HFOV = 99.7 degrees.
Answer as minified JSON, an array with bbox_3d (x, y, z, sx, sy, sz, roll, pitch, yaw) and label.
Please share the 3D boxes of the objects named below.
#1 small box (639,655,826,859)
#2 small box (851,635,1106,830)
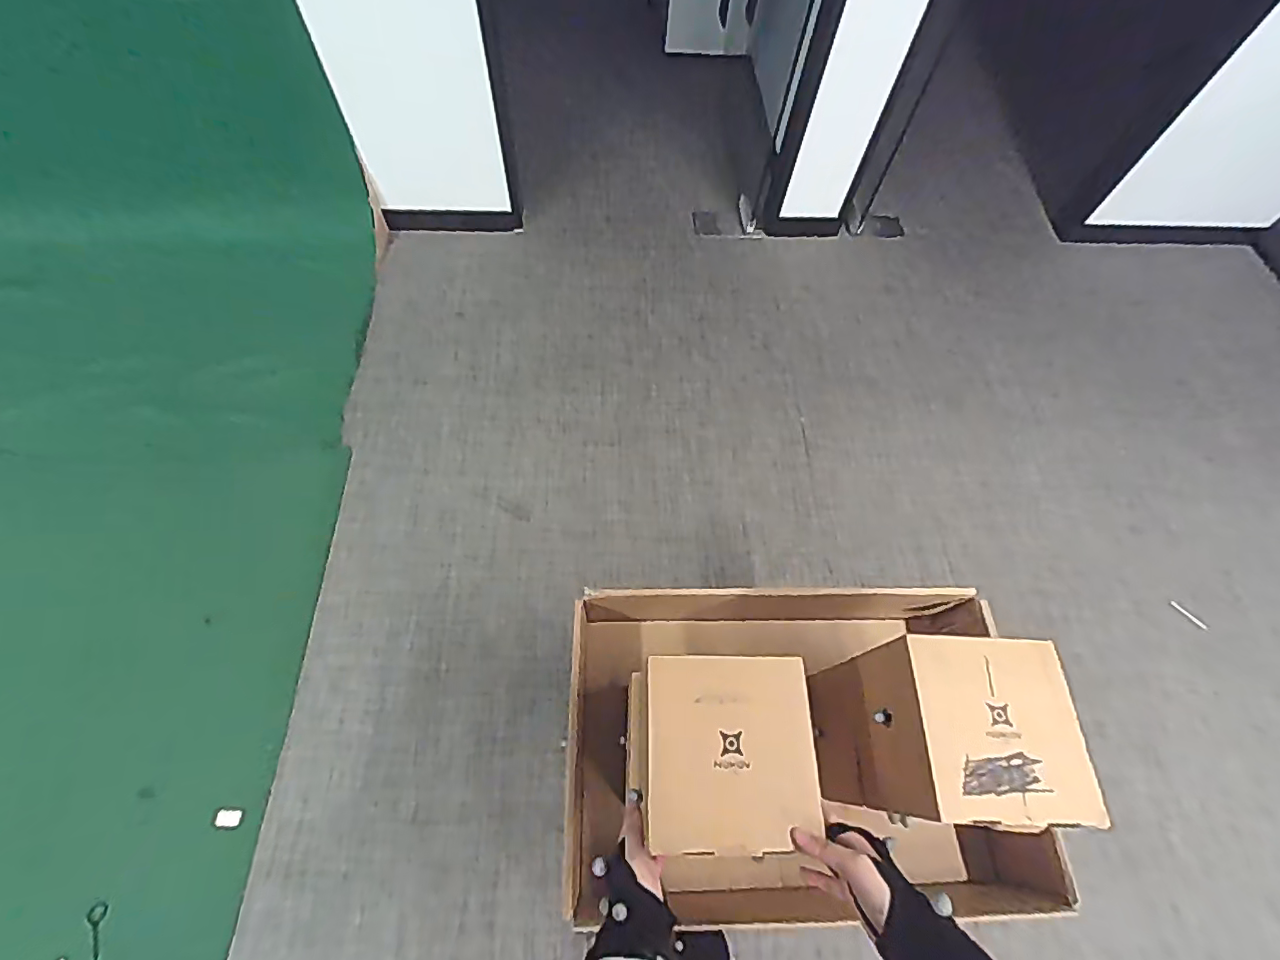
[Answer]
[{"bbox_3d":[0.087,0.299,0.597,0.168,0.176,0.179,2,62,-3],"label":"small box"},{"bbox_3d":[0.362,0.286,0.620,0.168,0.176,0.179,3,62,-2],"label":"small box"}]
